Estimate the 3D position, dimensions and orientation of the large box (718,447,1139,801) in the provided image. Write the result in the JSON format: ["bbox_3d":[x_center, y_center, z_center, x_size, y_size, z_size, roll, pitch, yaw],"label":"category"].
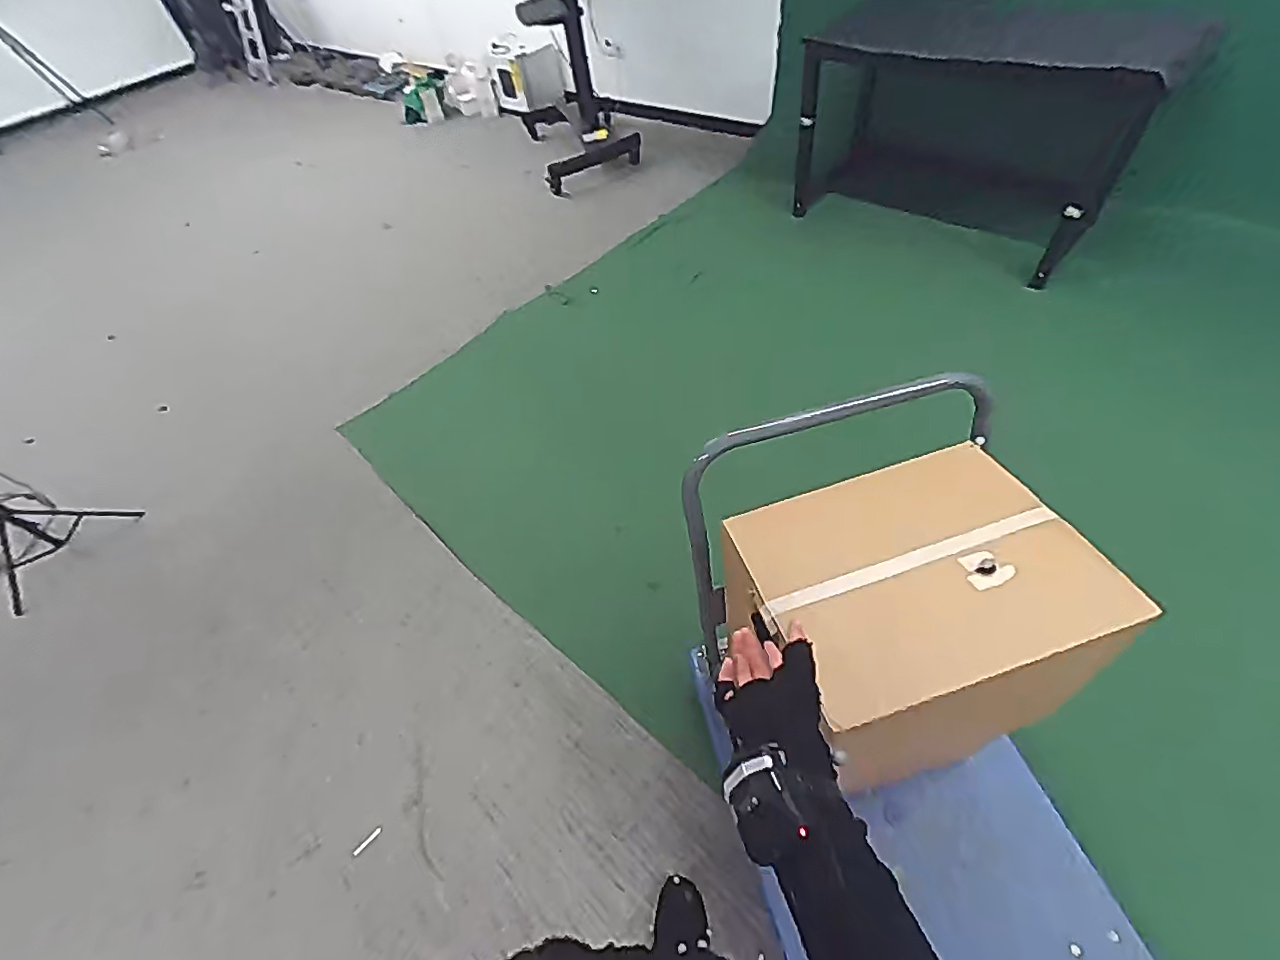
[{"bbox_3d":[0.360,0.209,0.802,0.408,0.320,0.320,-16,46,-6],"label":"large box"}]
